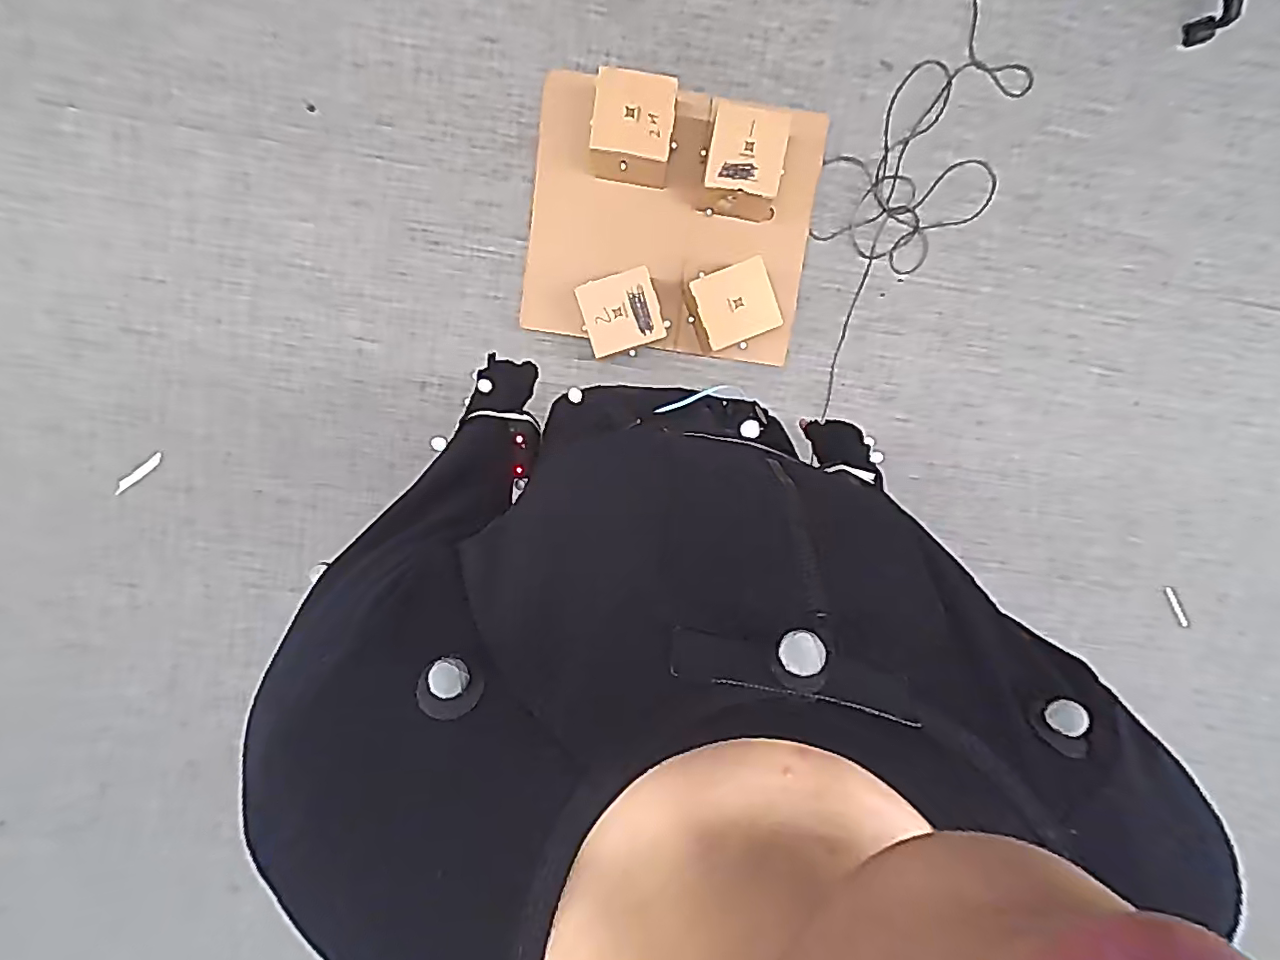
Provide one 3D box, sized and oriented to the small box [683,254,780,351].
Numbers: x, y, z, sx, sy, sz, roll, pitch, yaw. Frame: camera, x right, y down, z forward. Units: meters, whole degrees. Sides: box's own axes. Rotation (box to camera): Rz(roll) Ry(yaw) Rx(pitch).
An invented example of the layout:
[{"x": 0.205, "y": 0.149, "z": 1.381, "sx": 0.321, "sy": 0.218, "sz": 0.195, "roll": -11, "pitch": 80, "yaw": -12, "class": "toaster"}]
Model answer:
[{"x": 0.217, "y": -0.424, "z": 1.320, "sx": 0.179, "sy": 0.176, "sz": 0.168, "roll": -21, "pitch": 99, "yaw": 4, "class": "small box"}]
